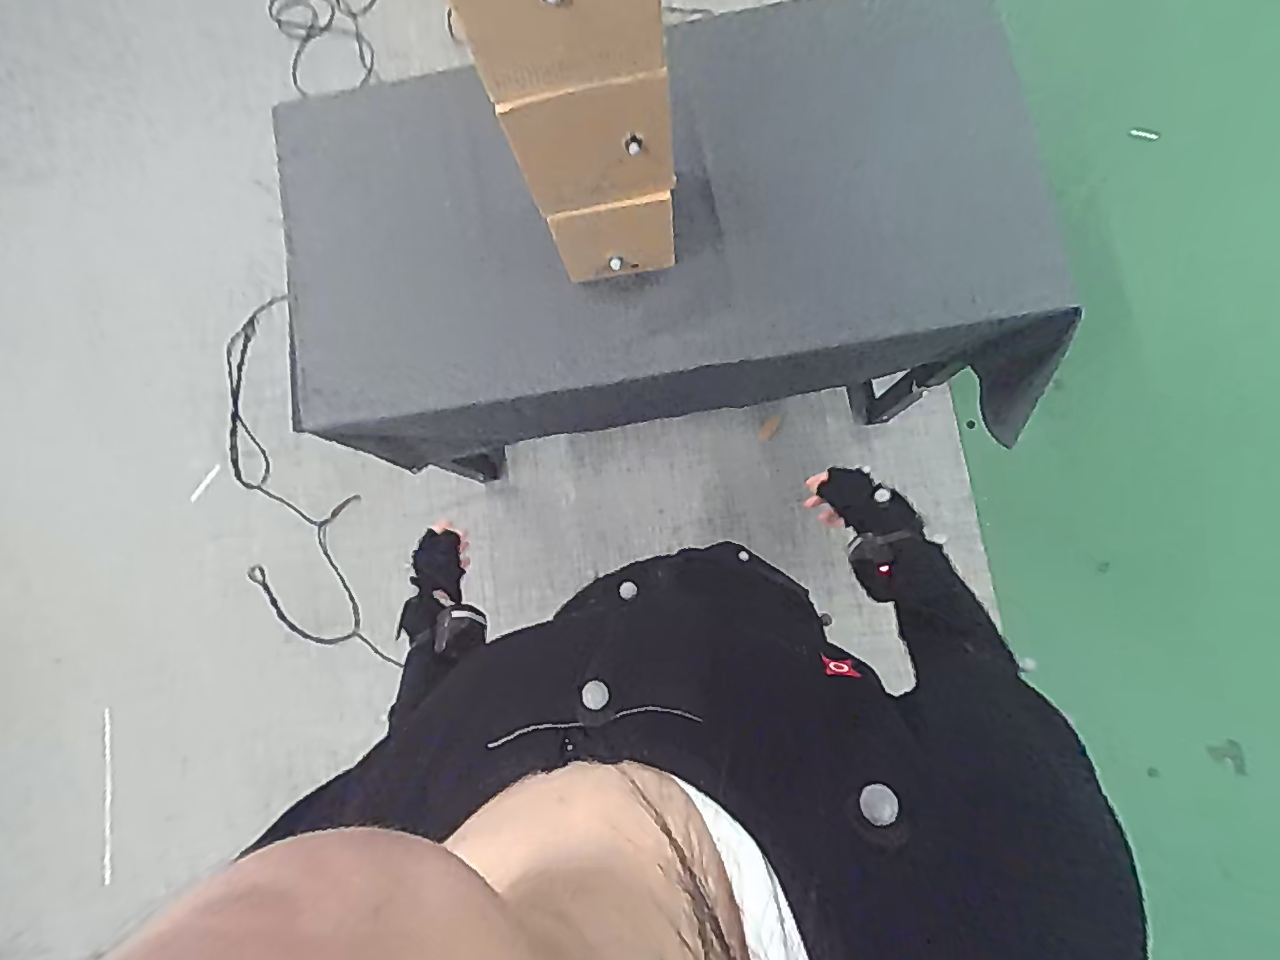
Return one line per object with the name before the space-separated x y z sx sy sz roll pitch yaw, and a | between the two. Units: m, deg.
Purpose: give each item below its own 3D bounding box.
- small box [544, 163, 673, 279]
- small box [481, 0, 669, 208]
small box | -0.045 -0.420 0.779 0.168 0.176 0.179 -8 81 4
small box | -0.064 -0.448 0.619 0.179 0.176 0.168 -10 79 4
